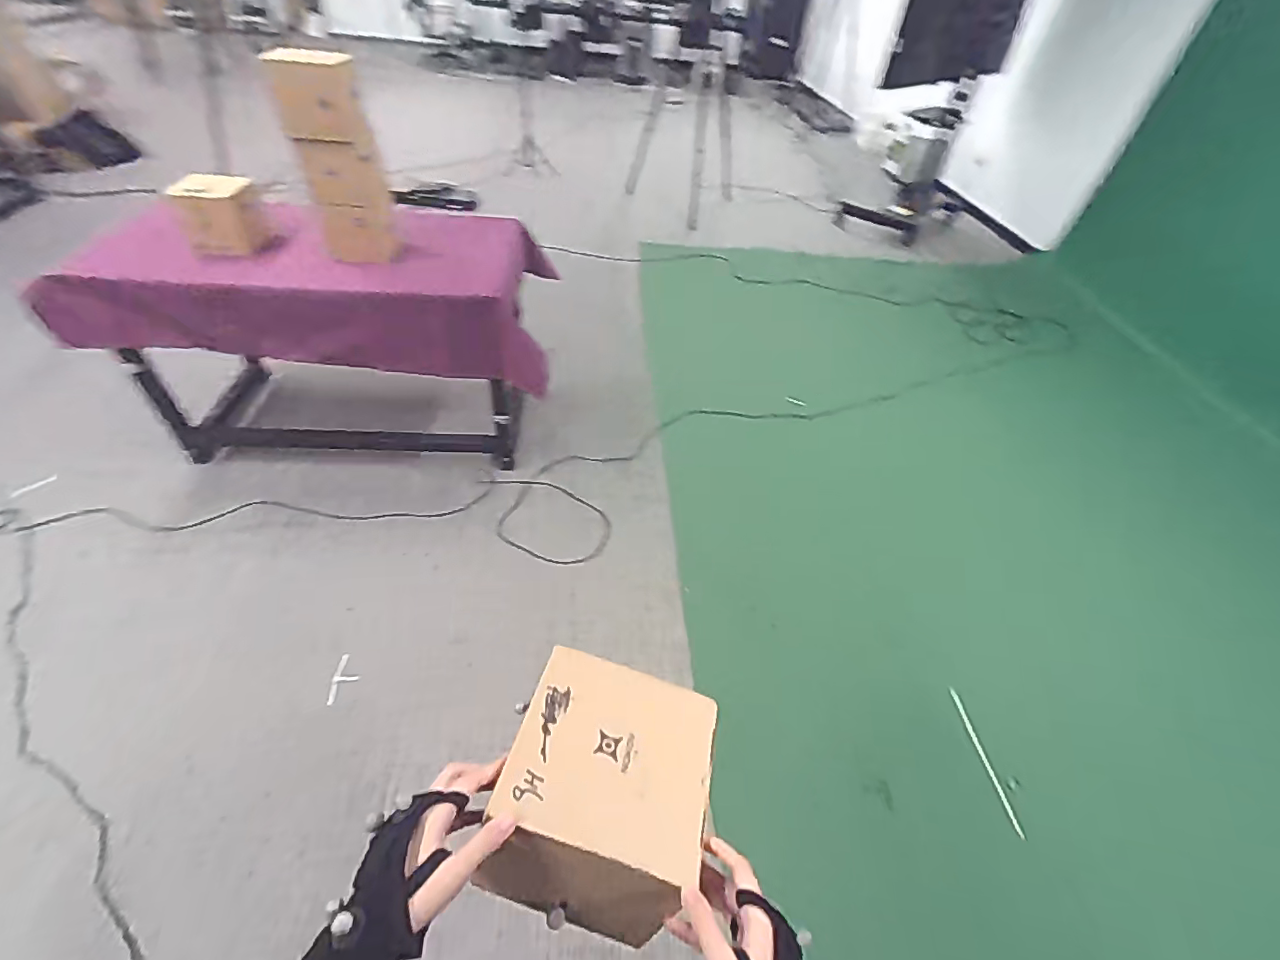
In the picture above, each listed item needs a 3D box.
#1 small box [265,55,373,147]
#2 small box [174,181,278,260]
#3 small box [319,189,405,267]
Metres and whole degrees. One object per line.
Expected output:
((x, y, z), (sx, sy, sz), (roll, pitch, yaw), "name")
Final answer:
((-0.832, -0.994, 1.425), (0.179, 0.176, 0.168), (2, 44, -4), "small box")
((-1.237, -0.782, 1.634), (0.168, 0.176, 0.179), (2, 45, -5), "small box")
((-0.845, -0.772, 1.667), (0.179, 0.176, 0.168), (2, 45, -4), "small box")
